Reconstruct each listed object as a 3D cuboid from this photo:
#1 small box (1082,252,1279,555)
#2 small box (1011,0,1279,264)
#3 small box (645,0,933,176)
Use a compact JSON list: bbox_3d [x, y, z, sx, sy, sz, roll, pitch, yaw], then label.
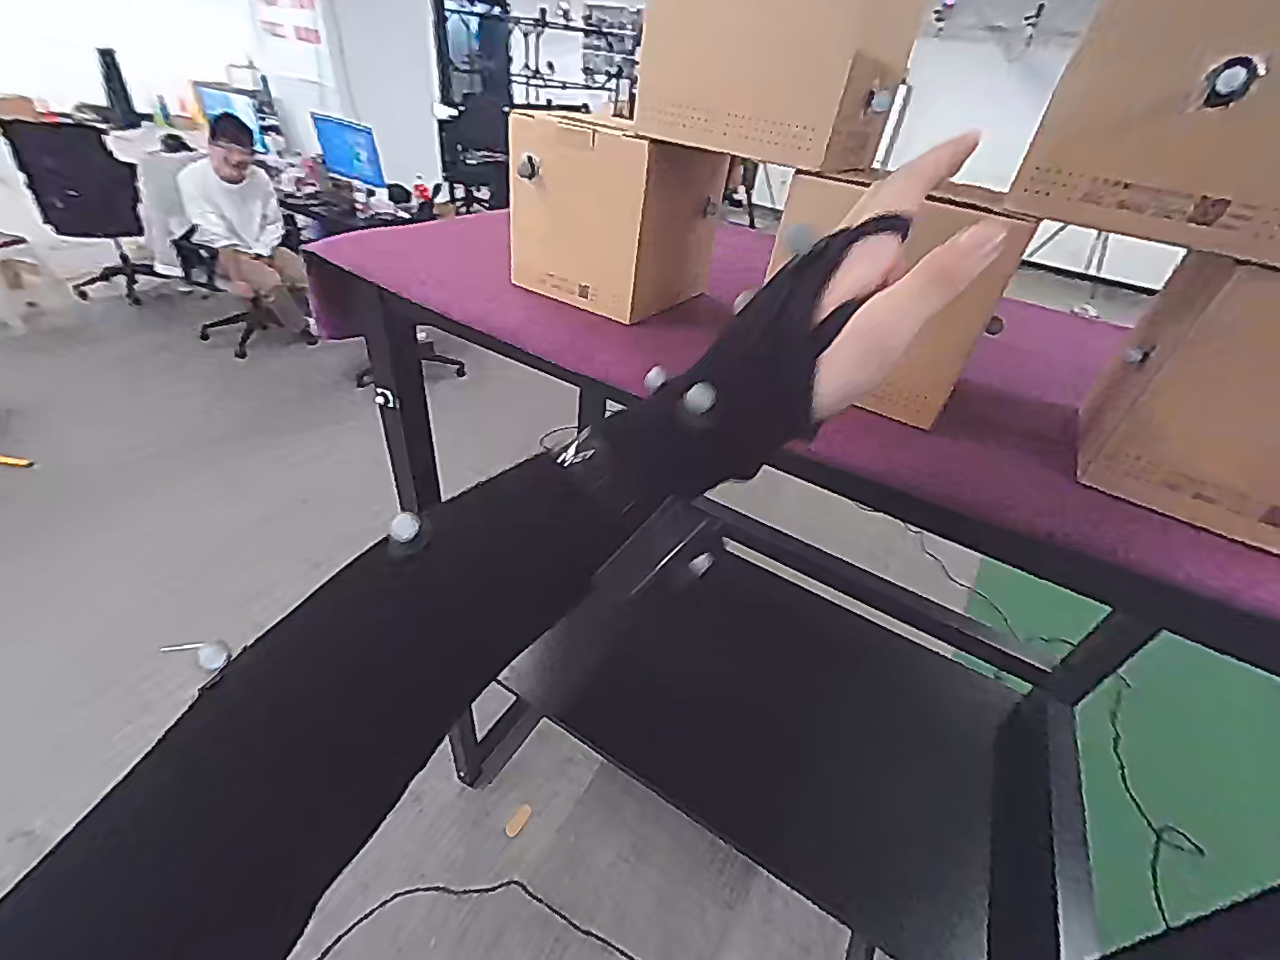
[{"bbox_3d":[0.460,-0.063,0.390,0.168,0.176,0.179,28,40,25],"label":"small box"},{"bbox_3d":[0.371,-0.248,0.344,0.168,0.176,0.179,28,40,24],"label":"small box"},{"bbox_3d":[0.122,-0.363,0.448,0.179,0.176,0.168,27,40,22],"label":"small box"}]
